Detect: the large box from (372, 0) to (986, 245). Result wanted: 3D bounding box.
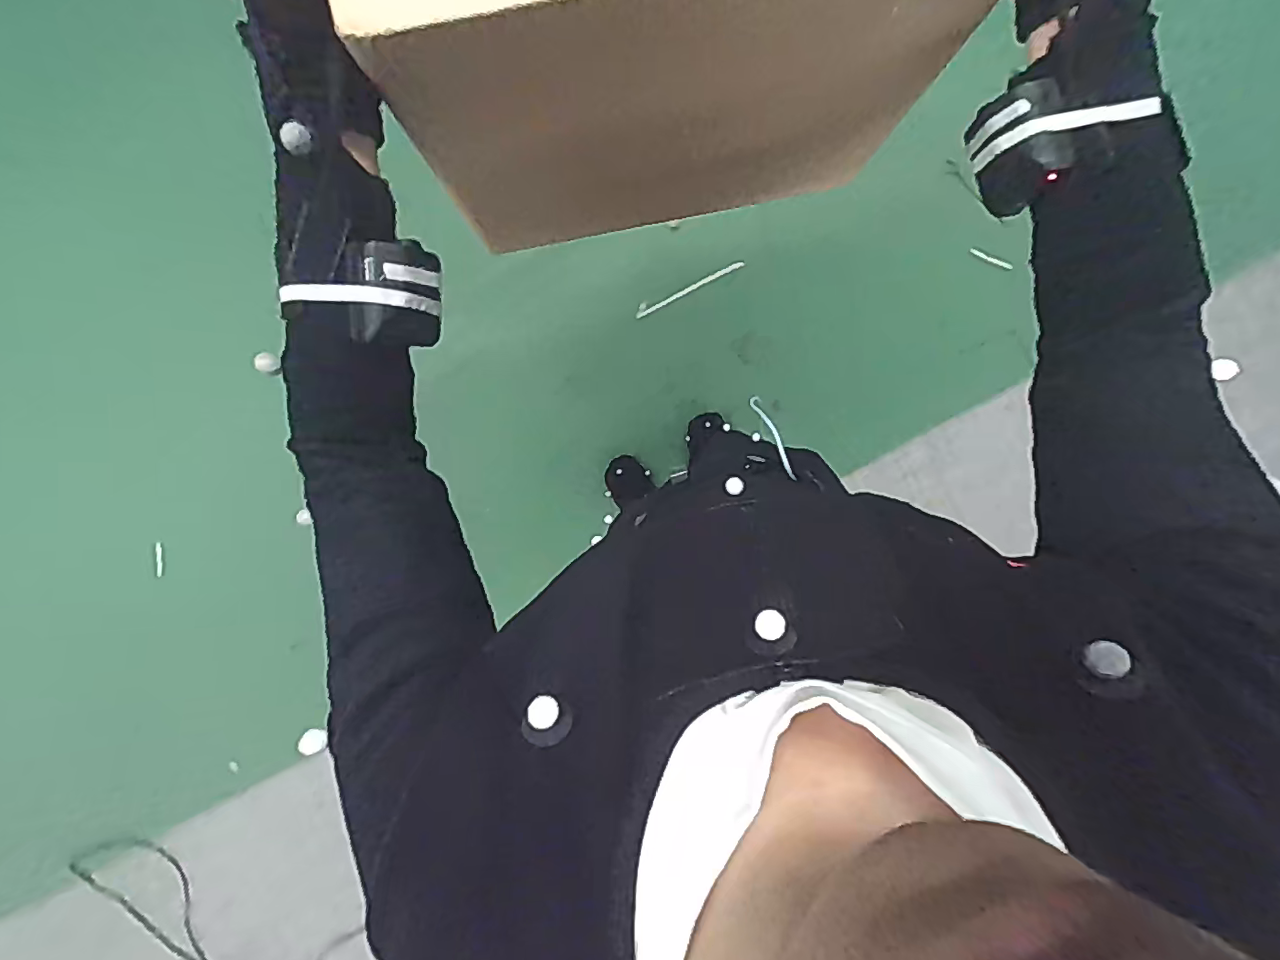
[{"bbox_3d":[0.013,-0.434,0.436,0.408,0.320,0.320,-12,94,-2],"label":"large box"}]
